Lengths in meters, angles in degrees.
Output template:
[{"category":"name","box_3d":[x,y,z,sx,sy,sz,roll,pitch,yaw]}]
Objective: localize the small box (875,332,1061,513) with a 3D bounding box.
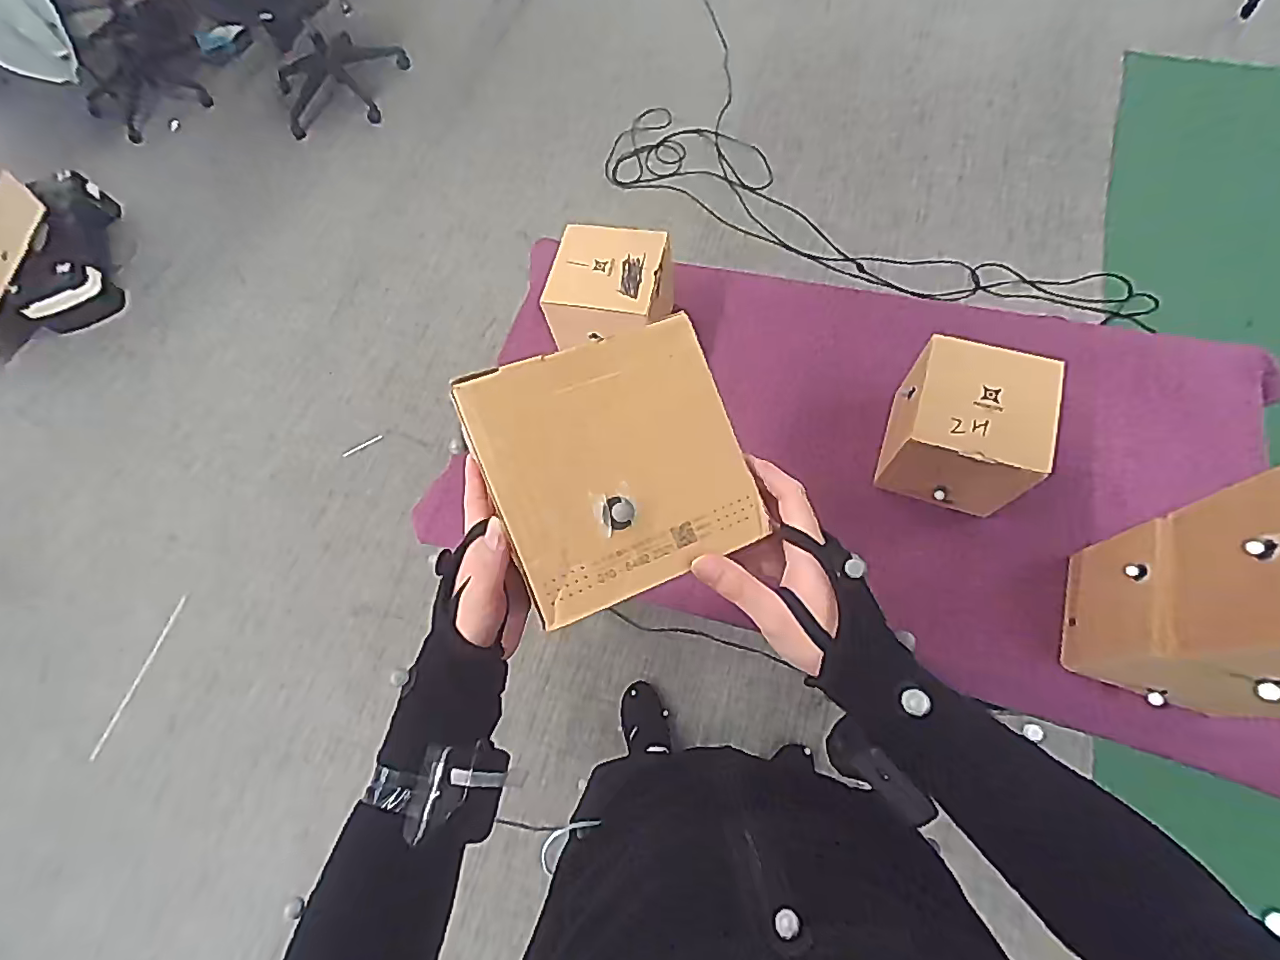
[{"category":"small box","box_3d":[0.460,-0.076,0.780,0.168,0.176,0.179,18,72,13]}]

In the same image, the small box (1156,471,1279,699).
[{"category":"small box","box_3d":[0.641,0.105,0.509,0.168,0.176,0.179,17,71,15]}]

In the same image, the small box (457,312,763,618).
[{"category":"small box","box_3d":[-0.031,-0.005,0.433,0.168,0.179,0.176,-21,91,-15]}]

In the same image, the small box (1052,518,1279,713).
[{"category":"small box","box_3d":[0.656,0.170,0.659,0.179,0.176,0.168,18,70,13]}]

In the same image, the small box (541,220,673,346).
[{"category":"small box","box_3d":[-0.044,-0.310,0.928,0.179,0.176,0.168,10,70,11]}]
